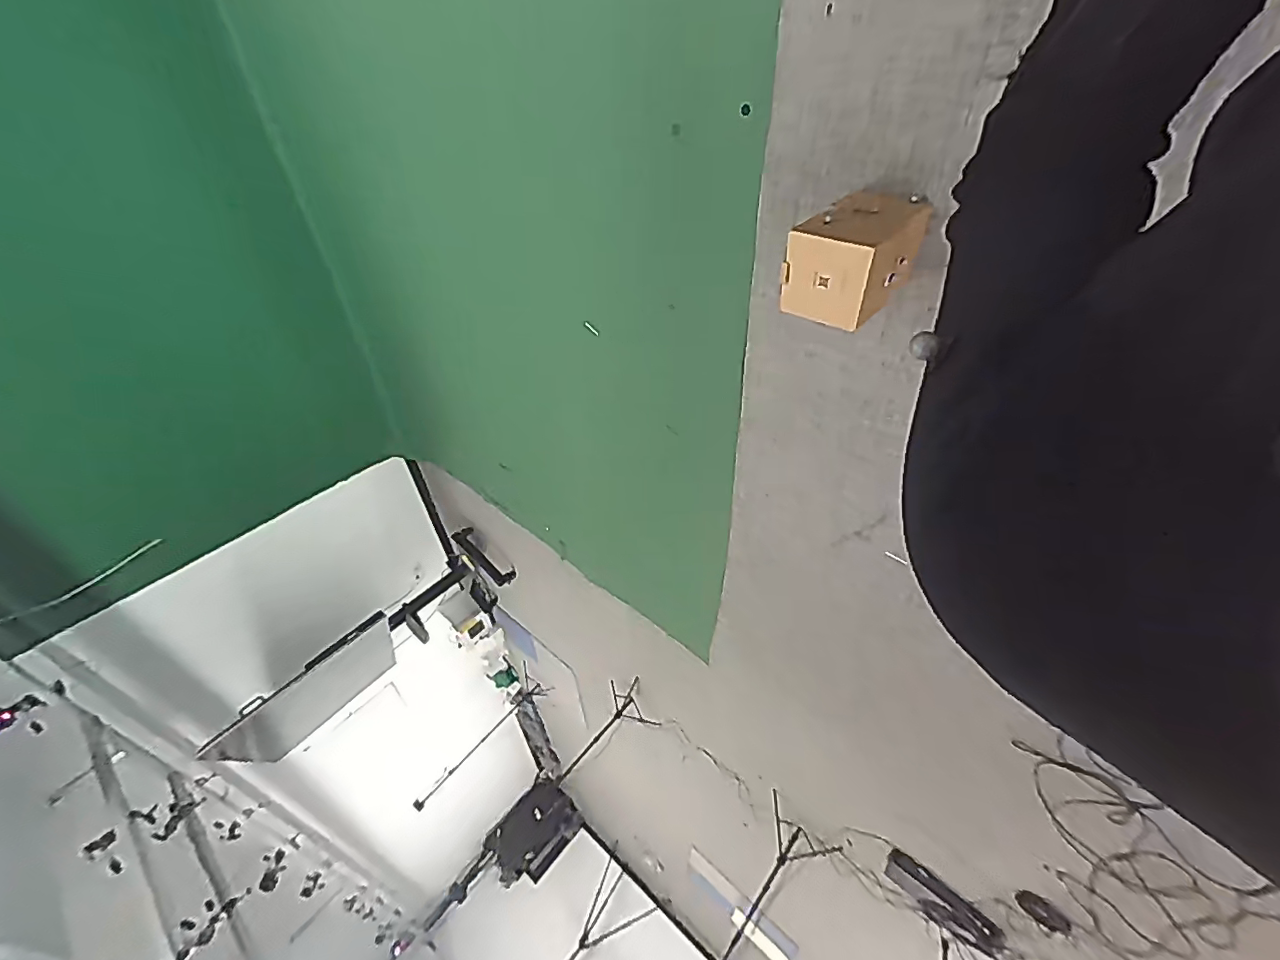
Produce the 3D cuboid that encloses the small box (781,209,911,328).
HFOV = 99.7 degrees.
[{"bbox_3d":[0.414,-0.436,1.097,0.179,0.176,0.168,28,141,31],"label":"small box"}]

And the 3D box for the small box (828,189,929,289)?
[{"bbox_3d":[0.511,-0.523,1.197,0.168,0.176,0.179,31,143,29],"label":"small box"}]
